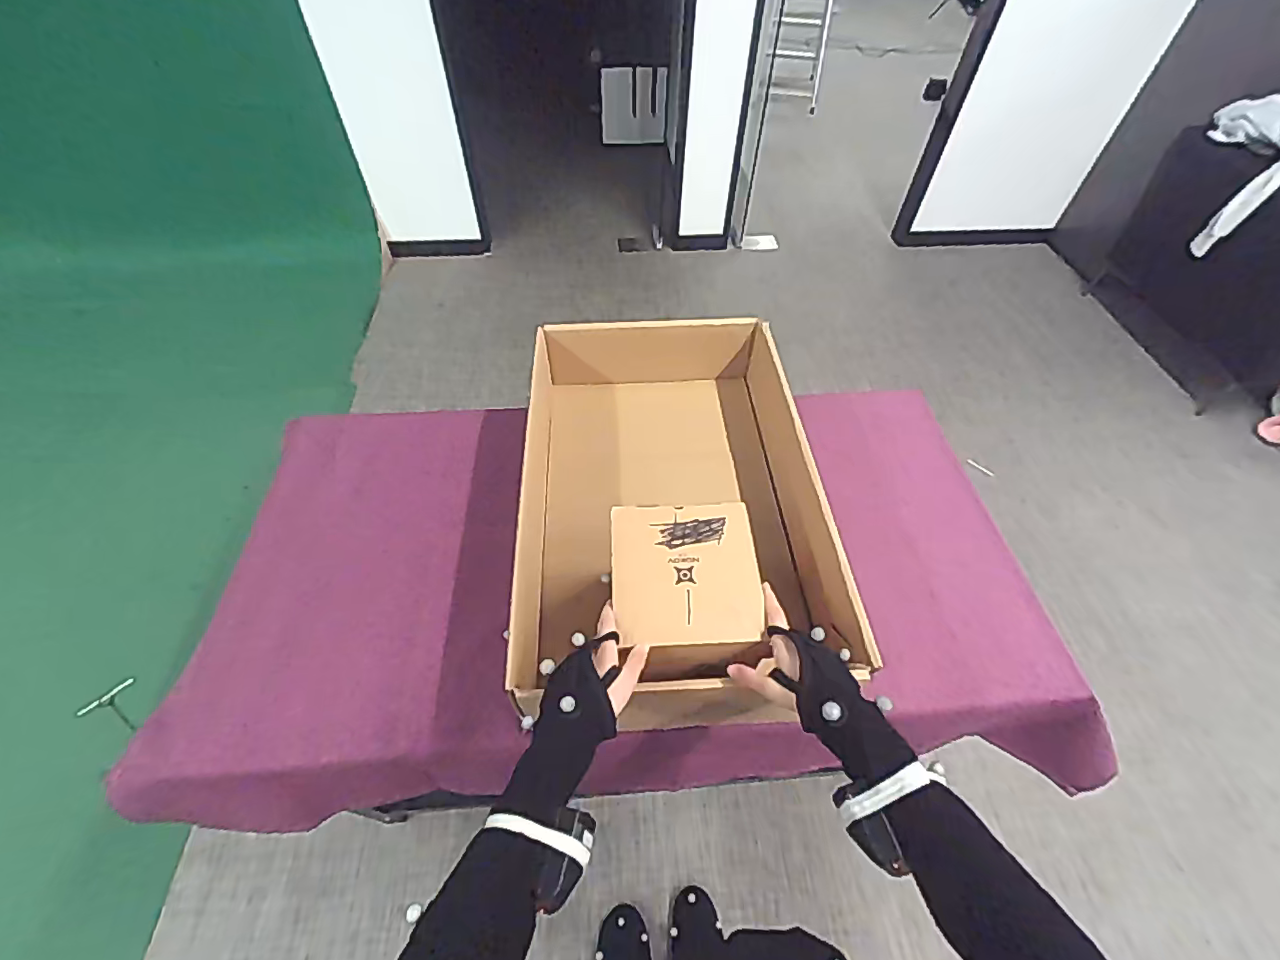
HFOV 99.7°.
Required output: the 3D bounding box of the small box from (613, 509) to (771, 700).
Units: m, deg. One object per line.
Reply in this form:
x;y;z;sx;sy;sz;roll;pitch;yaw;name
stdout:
0.049;0.155;0.667;0.168;0.176;0.179;-2;53;-2;small box
